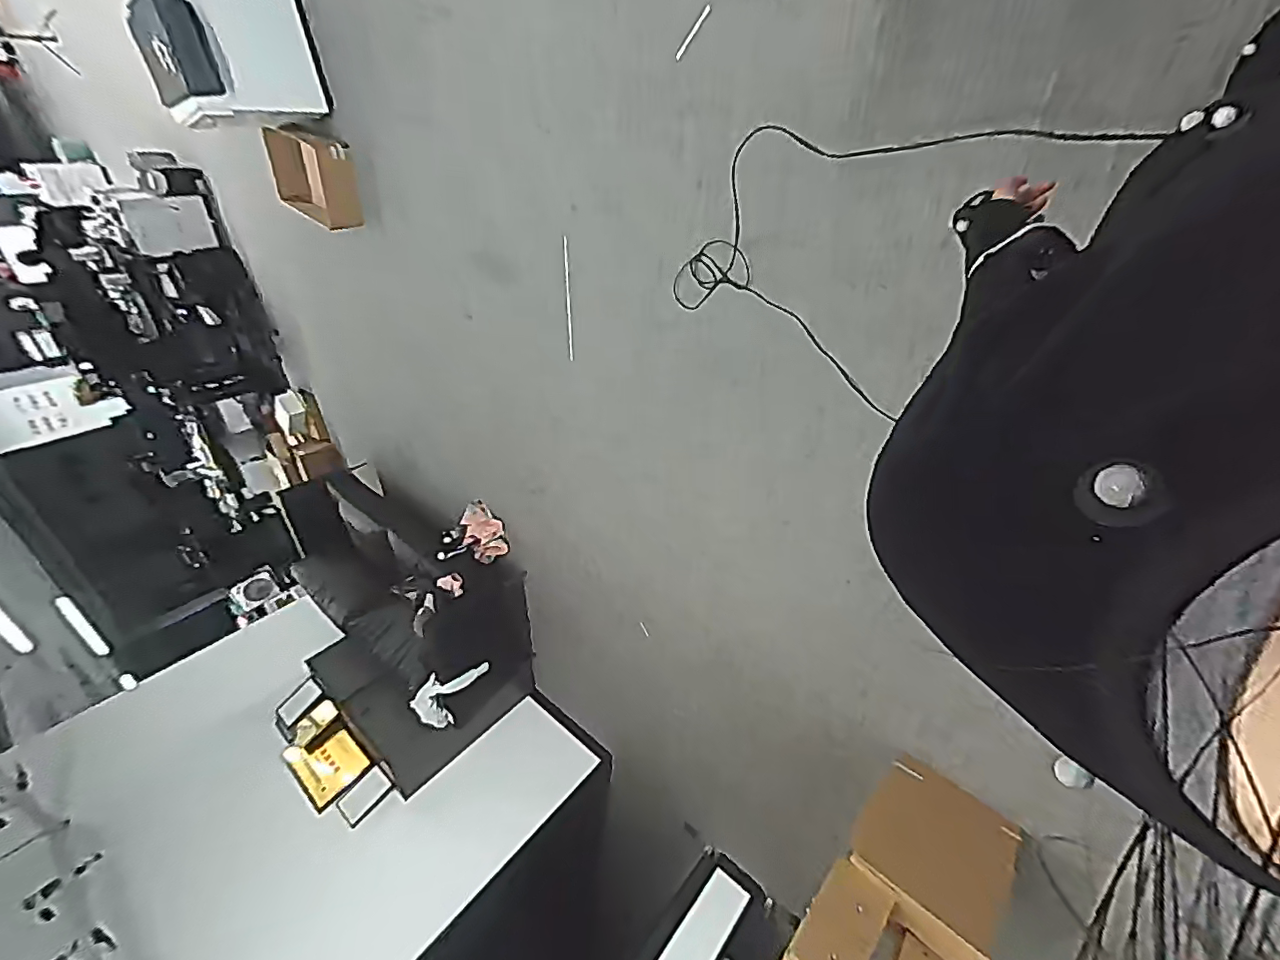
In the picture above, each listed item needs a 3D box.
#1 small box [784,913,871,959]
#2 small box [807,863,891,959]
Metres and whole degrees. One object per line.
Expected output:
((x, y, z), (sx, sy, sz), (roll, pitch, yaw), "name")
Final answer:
((0.538, 1.417, 1.579), (0.179, 0.176, 0.168), (31, 132, 29), "small box")
((0.649, 1.354, 1.682), (0.179, 0.176, 0.168), (30, 130, 29), "small box")
